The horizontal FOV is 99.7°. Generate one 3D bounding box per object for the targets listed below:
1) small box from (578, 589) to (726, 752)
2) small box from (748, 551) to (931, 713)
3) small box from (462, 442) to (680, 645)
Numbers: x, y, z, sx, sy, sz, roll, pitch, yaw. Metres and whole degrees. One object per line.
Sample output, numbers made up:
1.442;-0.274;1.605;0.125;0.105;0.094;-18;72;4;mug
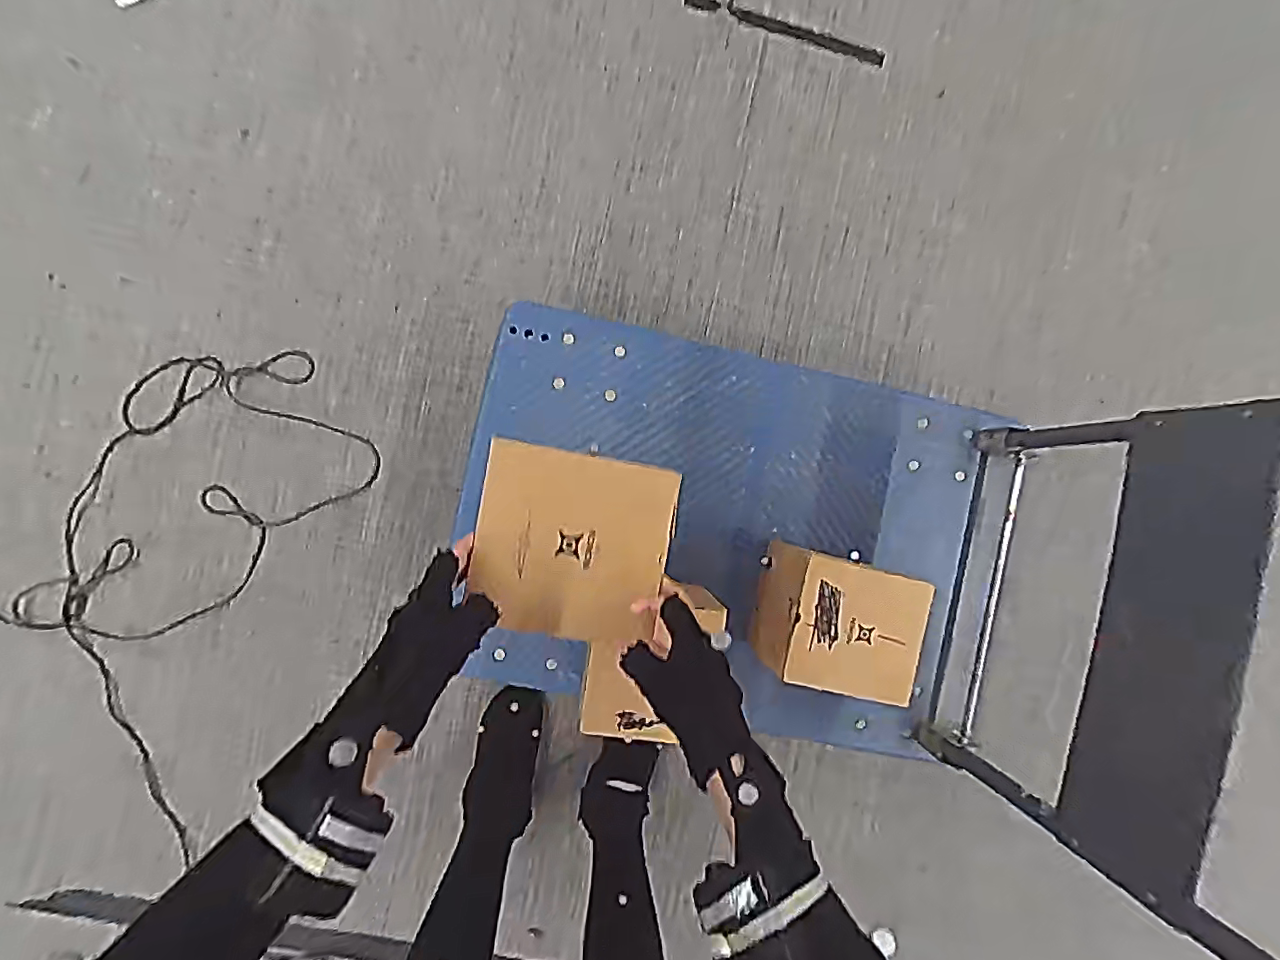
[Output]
0.009;0.245;0.752;0.168;0.176;0.179;9;88;-4;small box
0.270;0.203;0.772;0.179;0.176;0.168;14;88;-4;small box
-0.070;0.060;0.571;0.179;0.176;0.168;10;87;-6;small box
